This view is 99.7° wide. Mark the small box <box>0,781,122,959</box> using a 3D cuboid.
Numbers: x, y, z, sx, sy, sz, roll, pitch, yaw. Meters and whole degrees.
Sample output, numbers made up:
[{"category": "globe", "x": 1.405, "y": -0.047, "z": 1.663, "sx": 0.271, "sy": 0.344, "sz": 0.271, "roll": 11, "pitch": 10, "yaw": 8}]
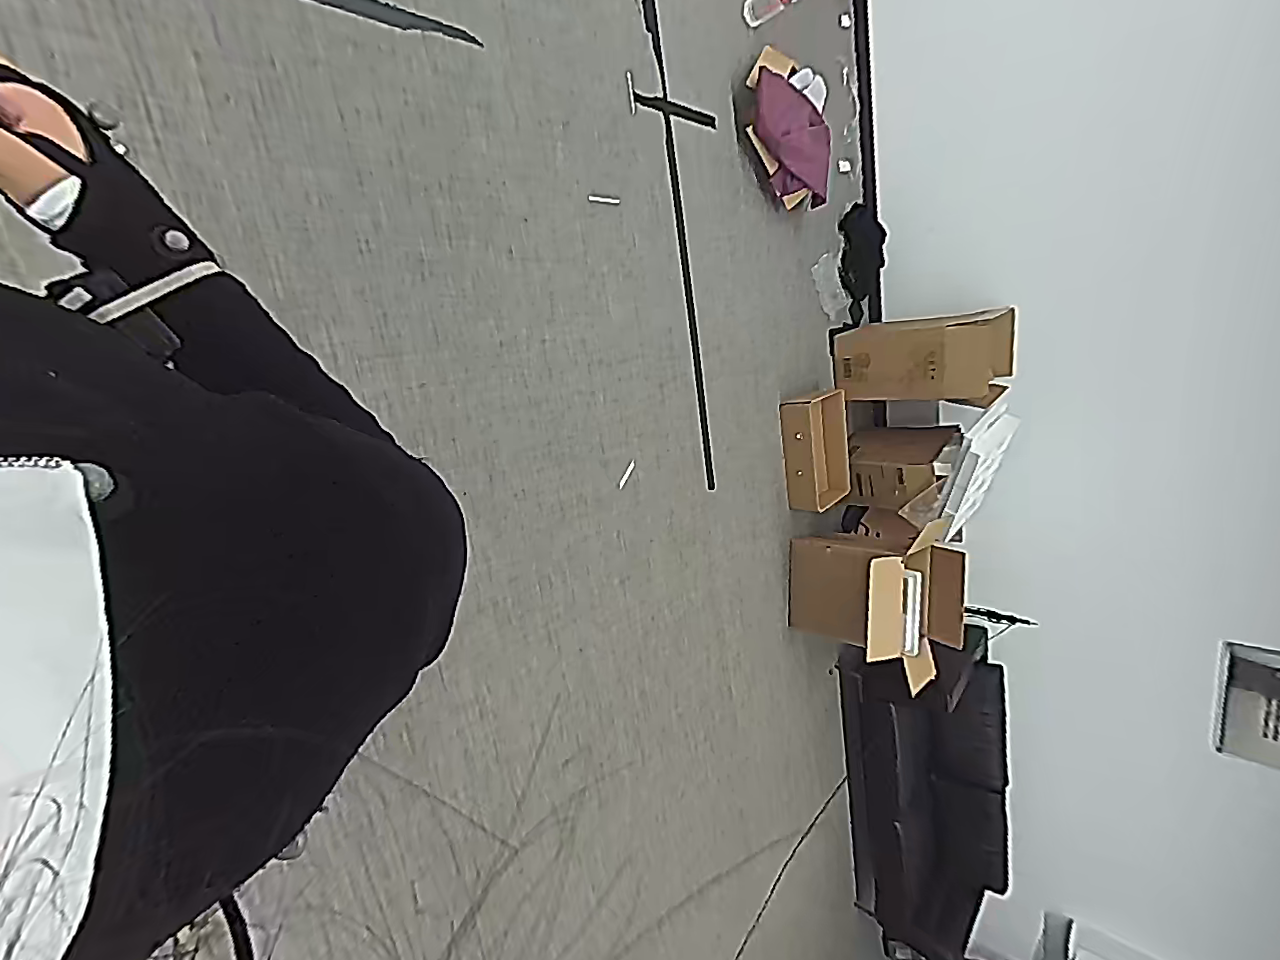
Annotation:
[{"category": "small box", "x": -0.776, "y": 0.519, "z": 0.661, "sx": 0.179, "sy": 0.176, "sz": 0.168, "roll": -23, "pitch": 108, "yaw": -42}]
